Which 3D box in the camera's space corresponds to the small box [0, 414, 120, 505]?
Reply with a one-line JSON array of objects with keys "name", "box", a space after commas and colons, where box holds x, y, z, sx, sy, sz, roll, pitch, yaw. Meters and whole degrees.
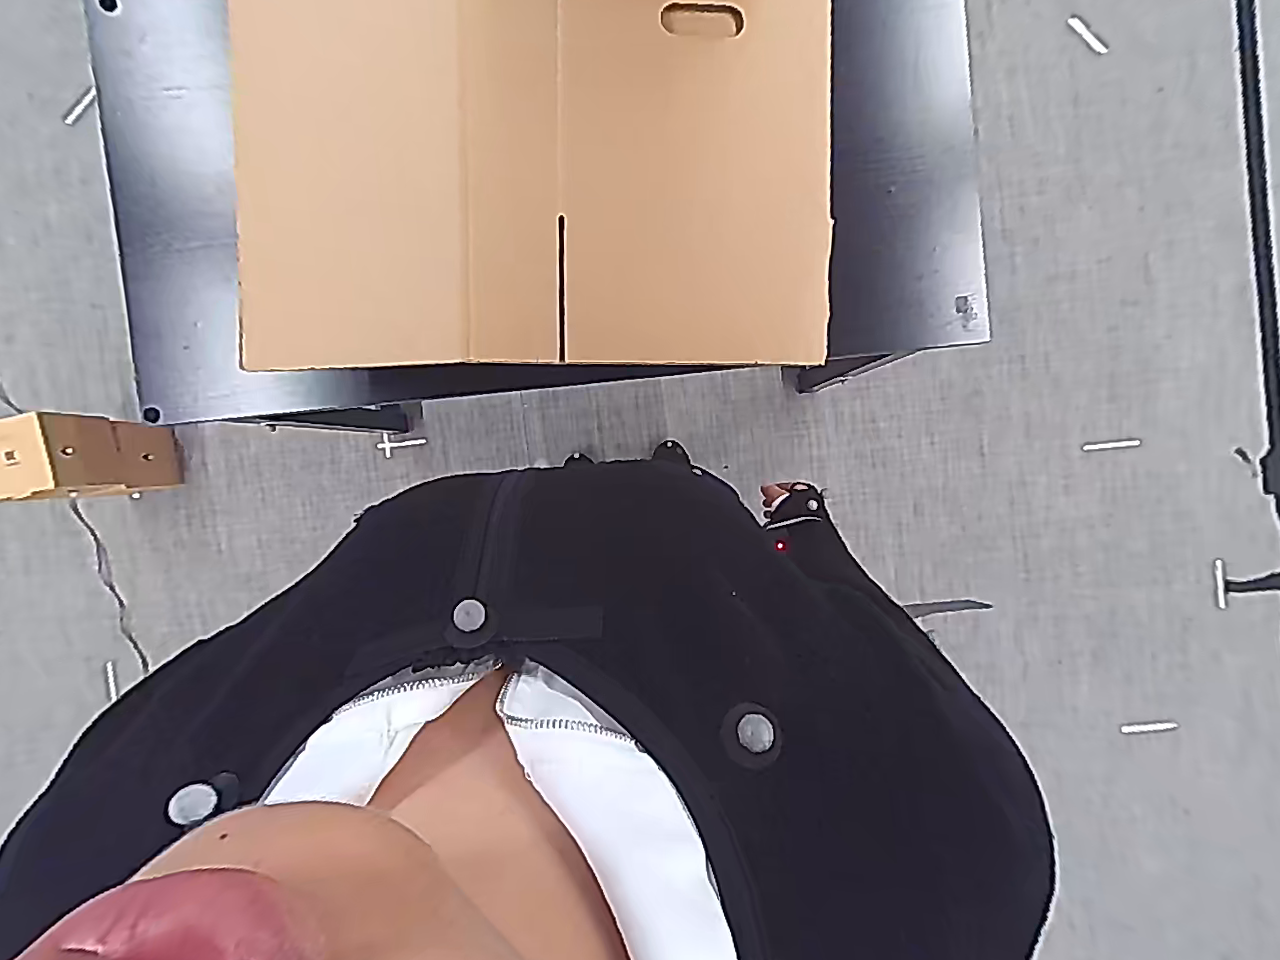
[{"name": "small box", "box": [-1.378, -0.047, 1.261, 0.168, 0.176, 0.179, -13, 91, 0]}]

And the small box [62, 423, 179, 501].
[{"name": "small box", "box": [-1.375, -0.047, 1.423, 0.168, 0.176, 0.179, -10, 93, 1]}]
